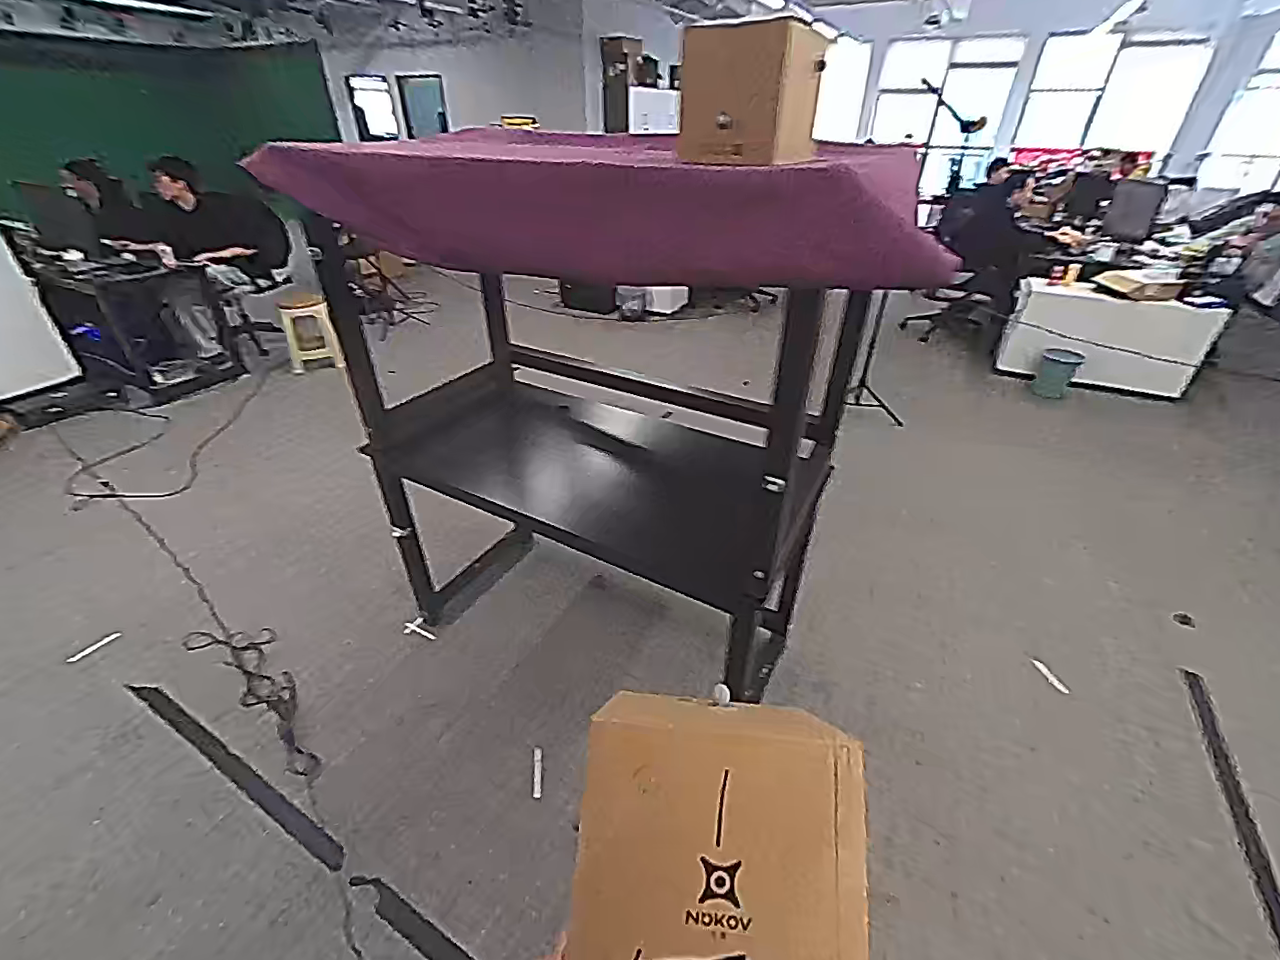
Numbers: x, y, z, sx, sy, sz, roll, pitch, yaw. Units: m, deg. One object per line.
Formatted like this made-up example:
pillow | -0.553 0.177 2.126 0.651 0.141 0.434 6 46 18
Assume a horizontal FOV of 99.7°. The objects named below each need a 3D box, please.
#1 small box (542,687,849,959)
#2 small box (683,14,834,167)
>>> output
small box | 0.037 0.249 0.374 0.168 0.176 0.179 3 73 4
small box | 0.173 -0.579 0.820 0.168 0.176 0.179 19 38 28
